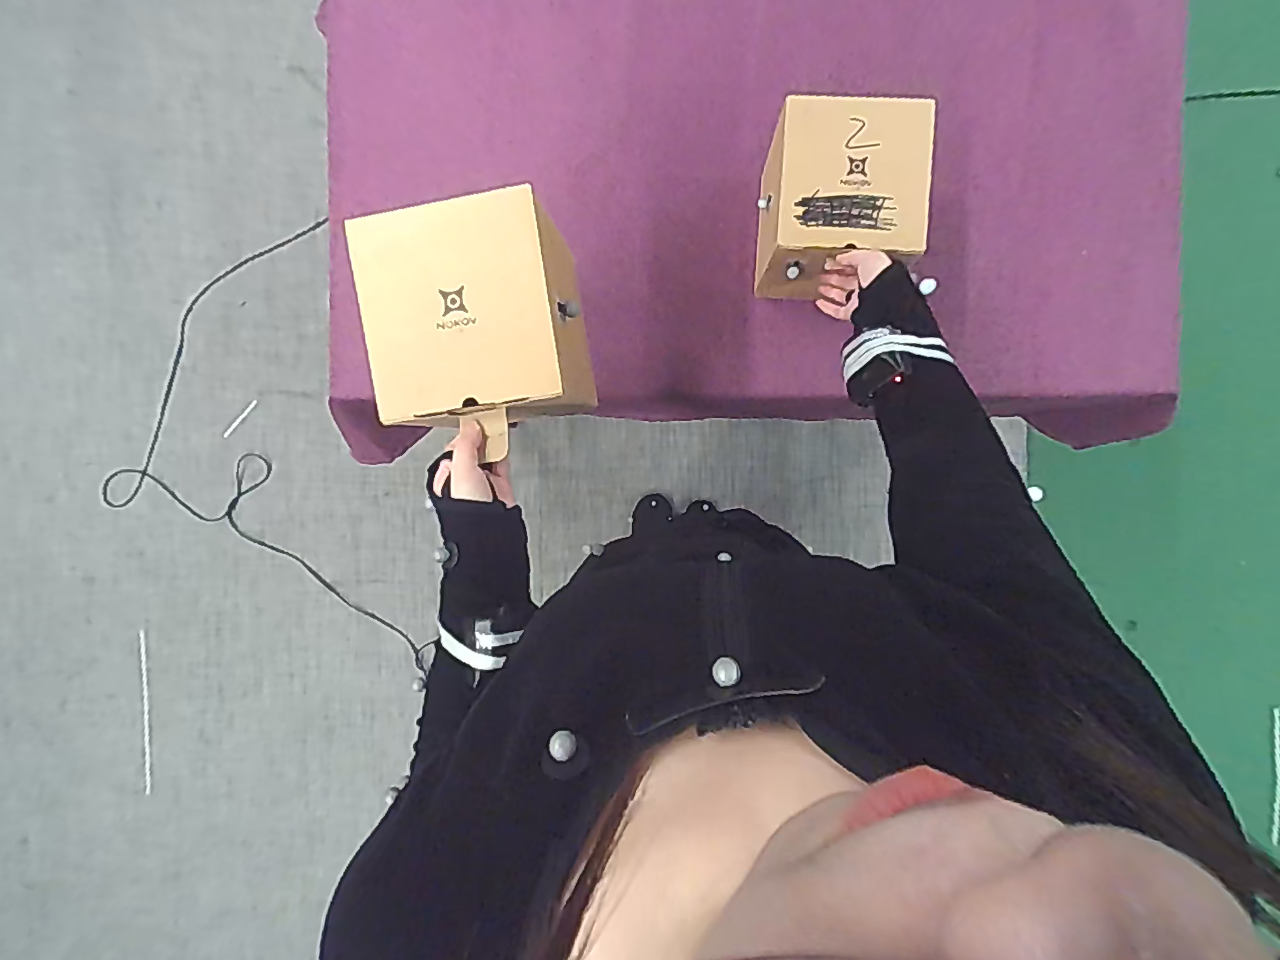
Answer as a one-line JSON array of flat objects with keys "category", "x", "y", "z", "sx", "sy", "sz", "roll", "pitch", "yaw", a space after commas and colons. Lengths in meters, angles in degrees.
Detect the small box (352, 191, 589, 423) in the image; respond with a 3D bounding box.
[{"category": "small box", "x": -0.154, "y": -0.156, "z": 0.549, "sx": 0.168, "sy": 0.176, "sz": 0.179, "roll": -8, "pitch": 94, "yaw": 5}]
